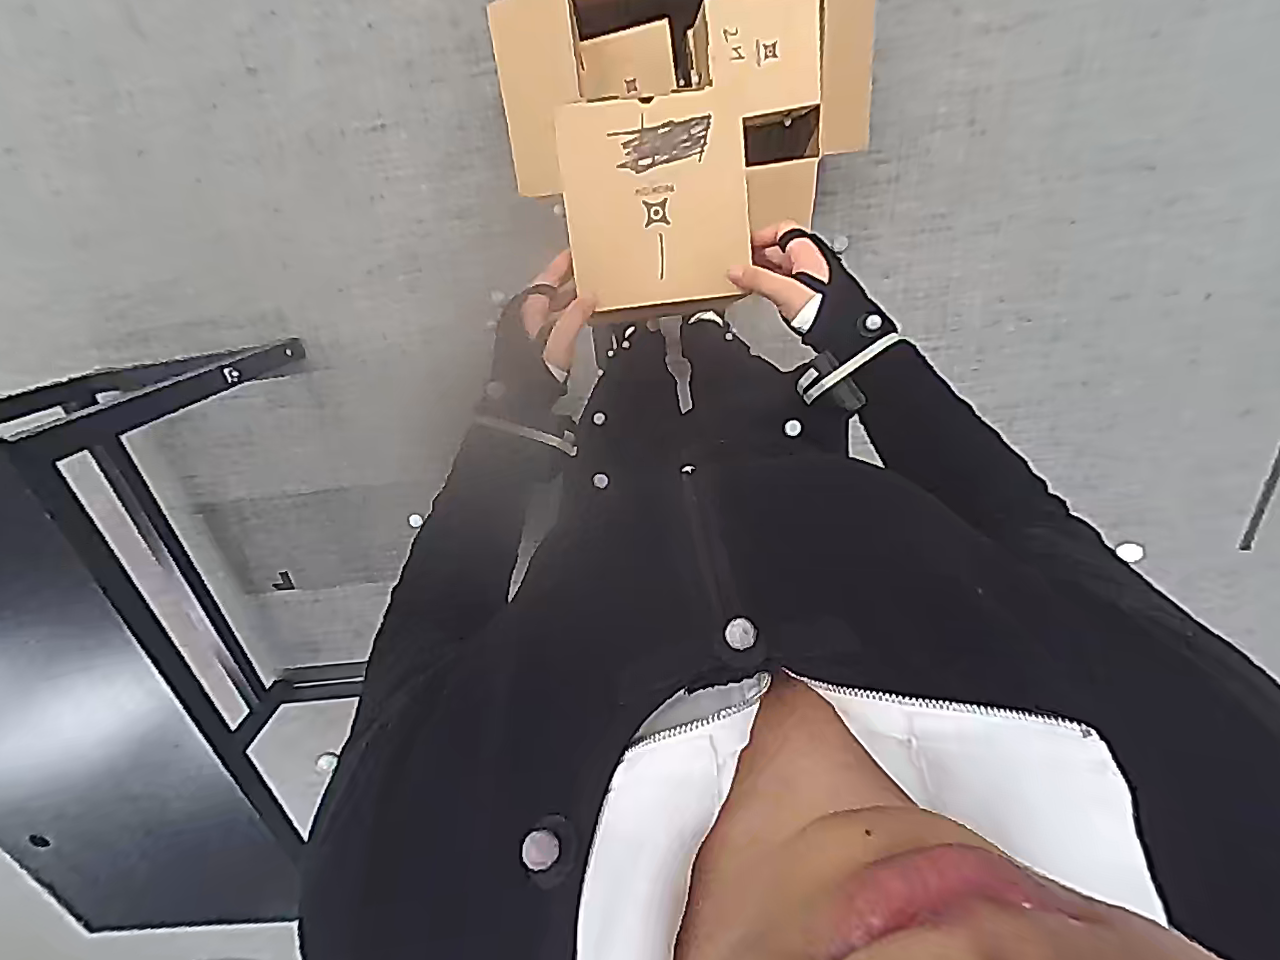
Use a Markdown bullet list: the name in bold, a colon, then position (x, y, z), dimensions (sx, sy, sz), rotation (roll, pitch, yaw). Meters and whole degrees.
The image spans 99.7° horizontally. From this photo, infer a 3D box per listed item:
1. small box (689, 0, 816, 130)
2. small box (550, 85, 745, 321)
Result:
- **small box**: position (0.186, -0.705, 0.917), dimensions (0.179, 0.176, 0.168), rotation (-8, 116, 4)
- **small box**: position (0.005, -0.270, 0.566), dimensions (0.168, 0.176, 0.179), rotation (-7, 103, -1)
